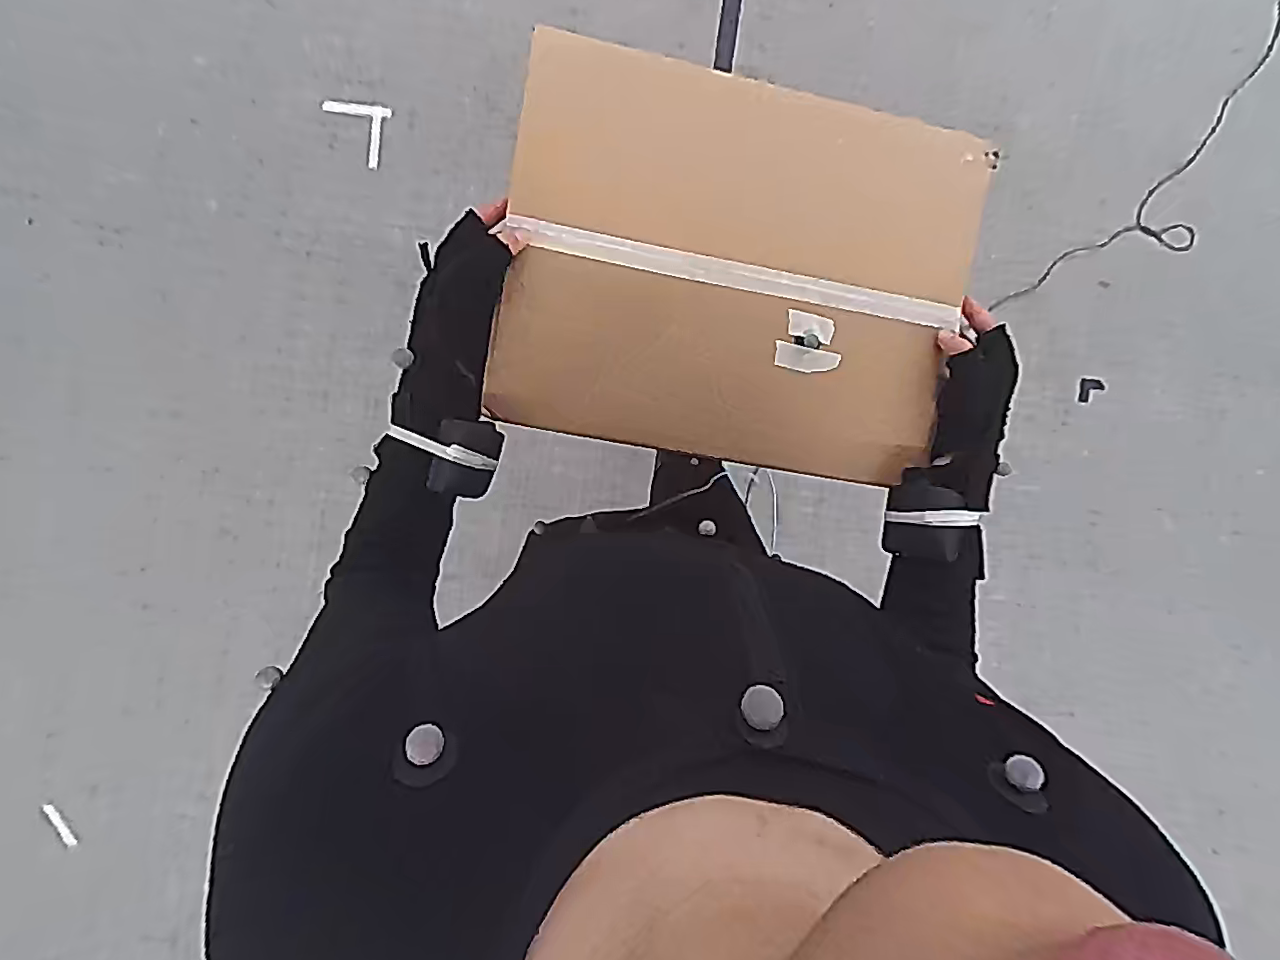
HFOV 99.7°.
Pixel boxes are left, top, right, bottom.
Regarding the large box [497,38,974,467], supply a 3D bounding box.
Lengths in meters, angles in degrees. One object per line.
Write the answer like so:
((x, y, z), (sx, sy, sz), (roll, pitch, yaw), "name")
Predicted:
((0.072, -0.205, 0.629), (0.408, 0.320, 0.320), (9, 96, -8), "large box")
